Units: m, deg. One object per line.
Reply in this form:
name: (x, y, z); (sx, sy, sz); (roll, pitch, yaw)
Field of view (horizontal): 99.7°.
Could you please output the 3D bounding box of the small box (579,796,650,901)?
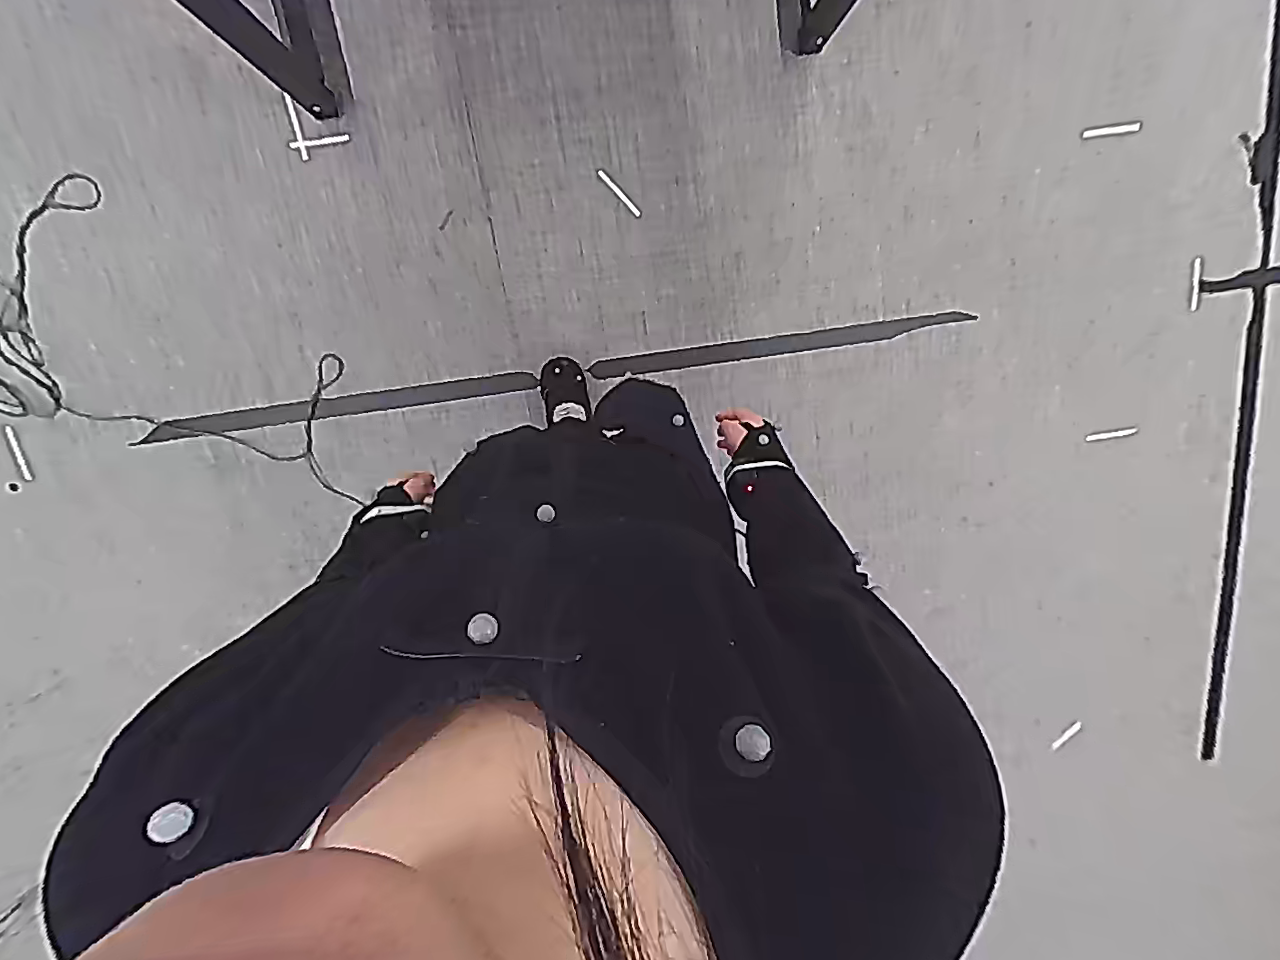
small box: (-0.080, 1.113, 1.641); (0.168, 0.176, 0.179); (-20, 103, -2)
